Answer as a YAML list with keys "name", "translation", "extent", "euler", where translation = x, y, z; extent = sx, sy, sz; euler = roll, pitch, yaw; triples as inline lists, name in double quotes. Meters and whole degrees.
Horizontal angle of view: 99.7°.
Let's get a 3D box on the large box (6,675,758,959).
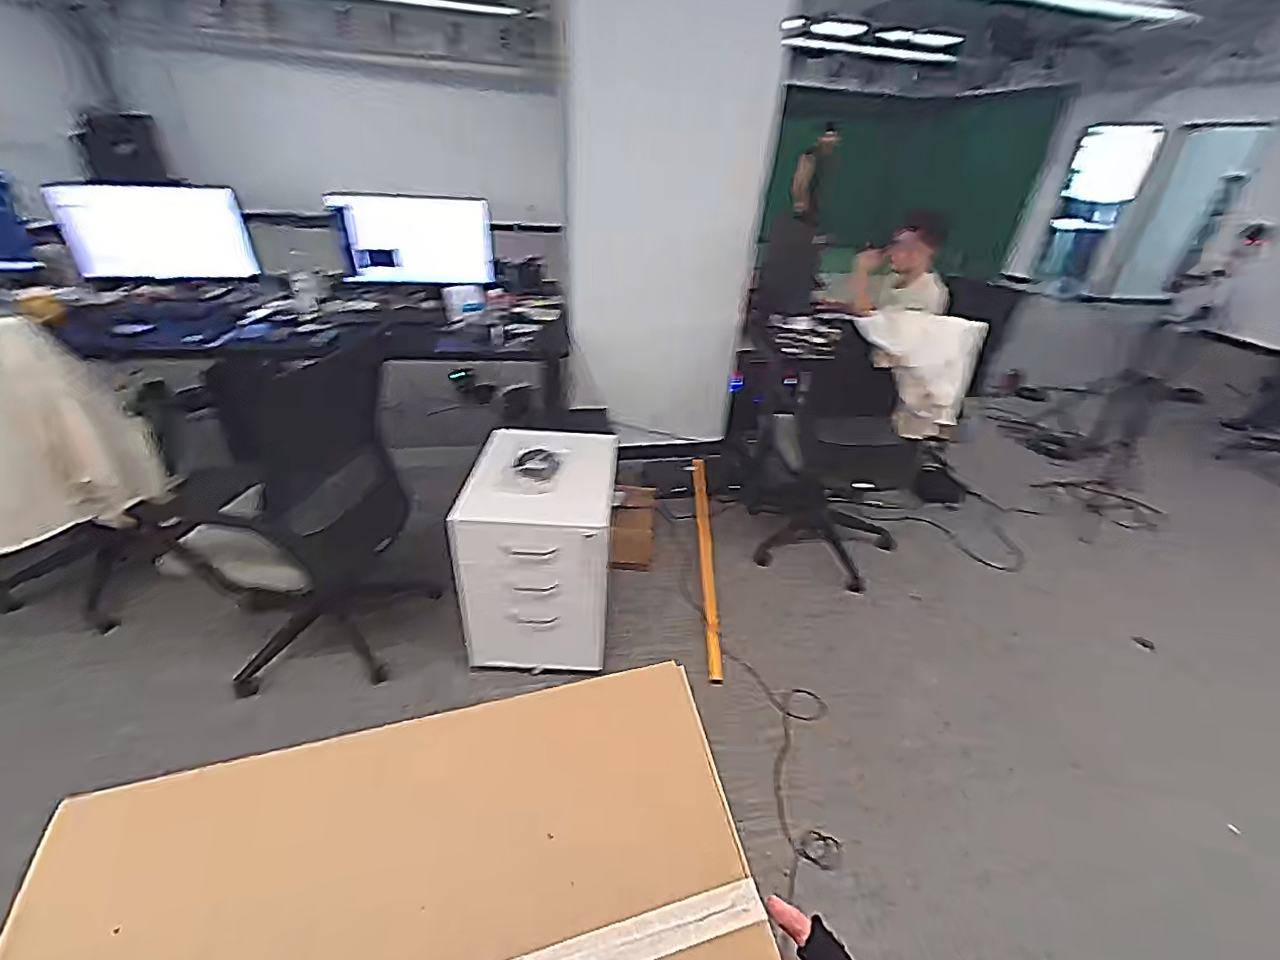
- name: "large box"
  translation: [-0.137, 0.394, 0.390]
  extent: [0.408, 0.320, 0.320]
  euler: [-9, 46, -14]
